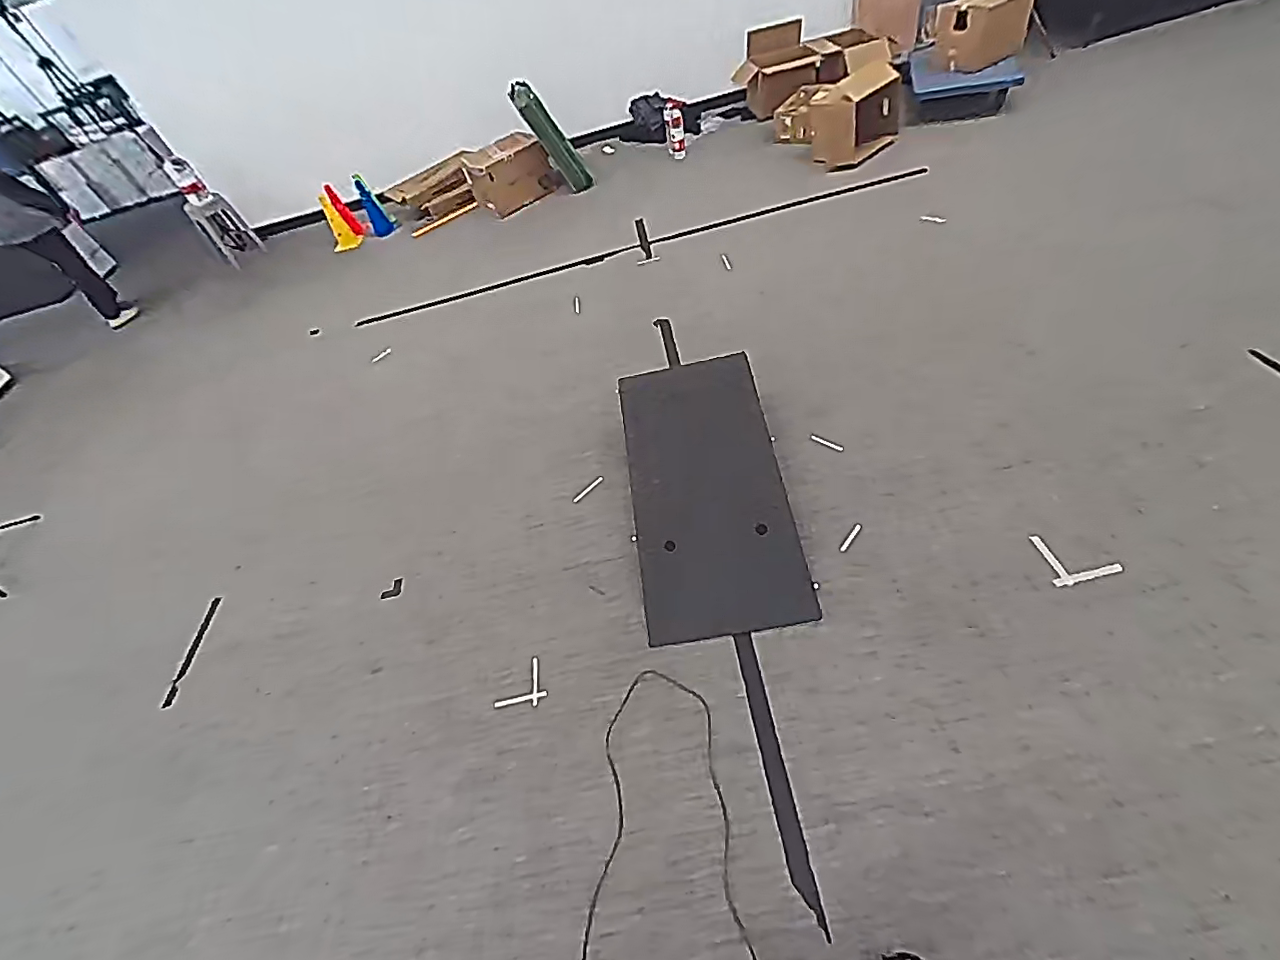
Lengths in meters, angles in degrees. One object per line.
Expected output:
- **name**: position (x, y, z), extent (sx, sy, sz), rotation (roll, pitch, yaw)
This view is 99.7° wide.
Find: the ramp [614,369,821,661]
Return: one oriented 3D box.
- **ramp**: position (0.208, 0.053, 1.788), extent (0.509, 0.206, 0.991), rotation (-13, 47, 4)
